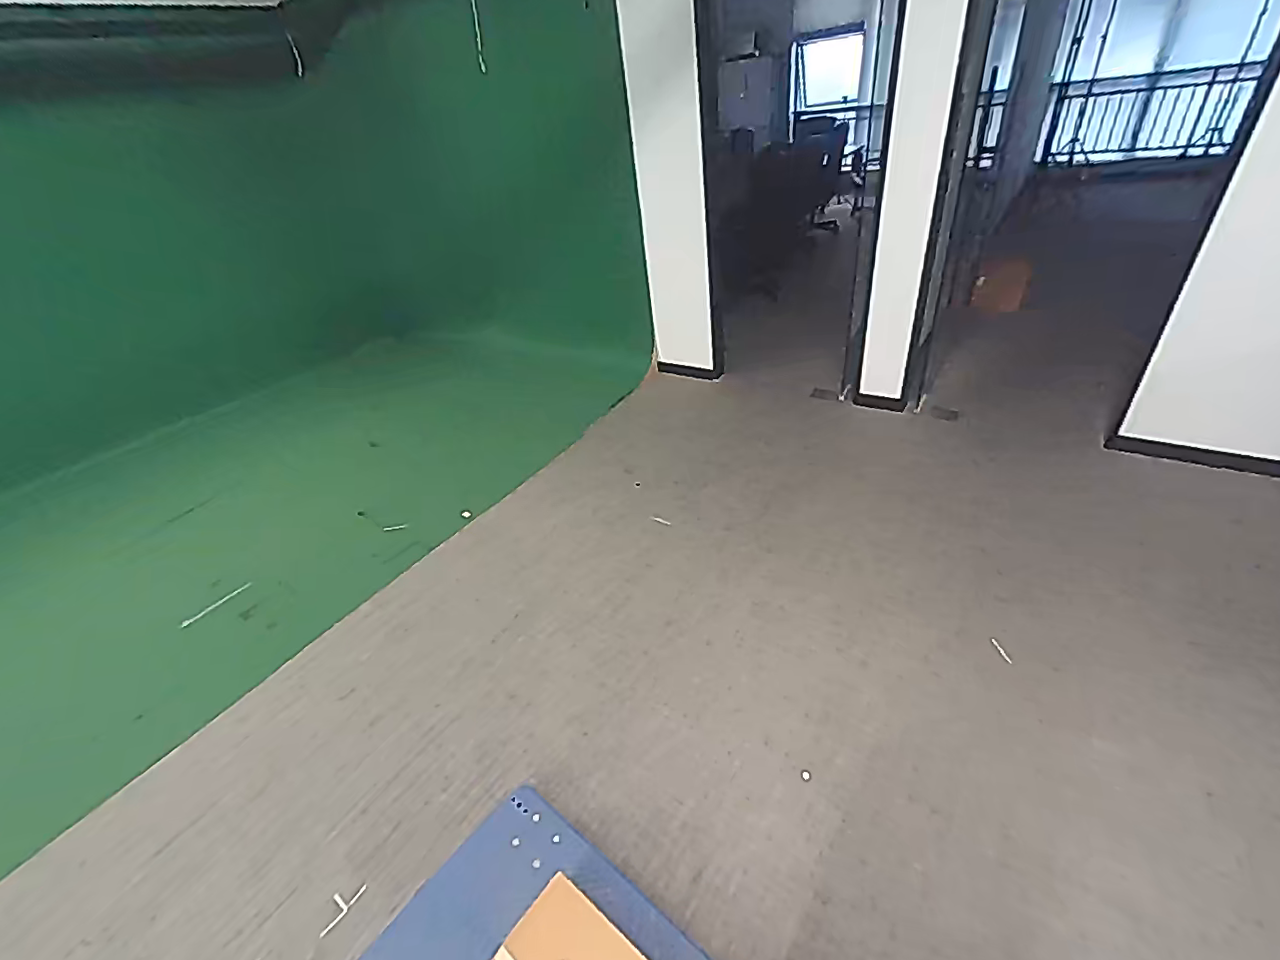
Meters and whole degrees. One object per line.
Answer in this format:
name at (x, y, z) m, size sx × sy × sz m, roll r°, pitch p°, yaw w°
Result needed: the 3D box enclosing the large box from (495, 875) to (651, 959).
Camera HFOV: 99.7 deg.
large box at (-0.076, 1.027, 0.948) m, size 0.408 × 0.320 × 0.320 m, roll 20°, pitch 44°, yaw 35°
